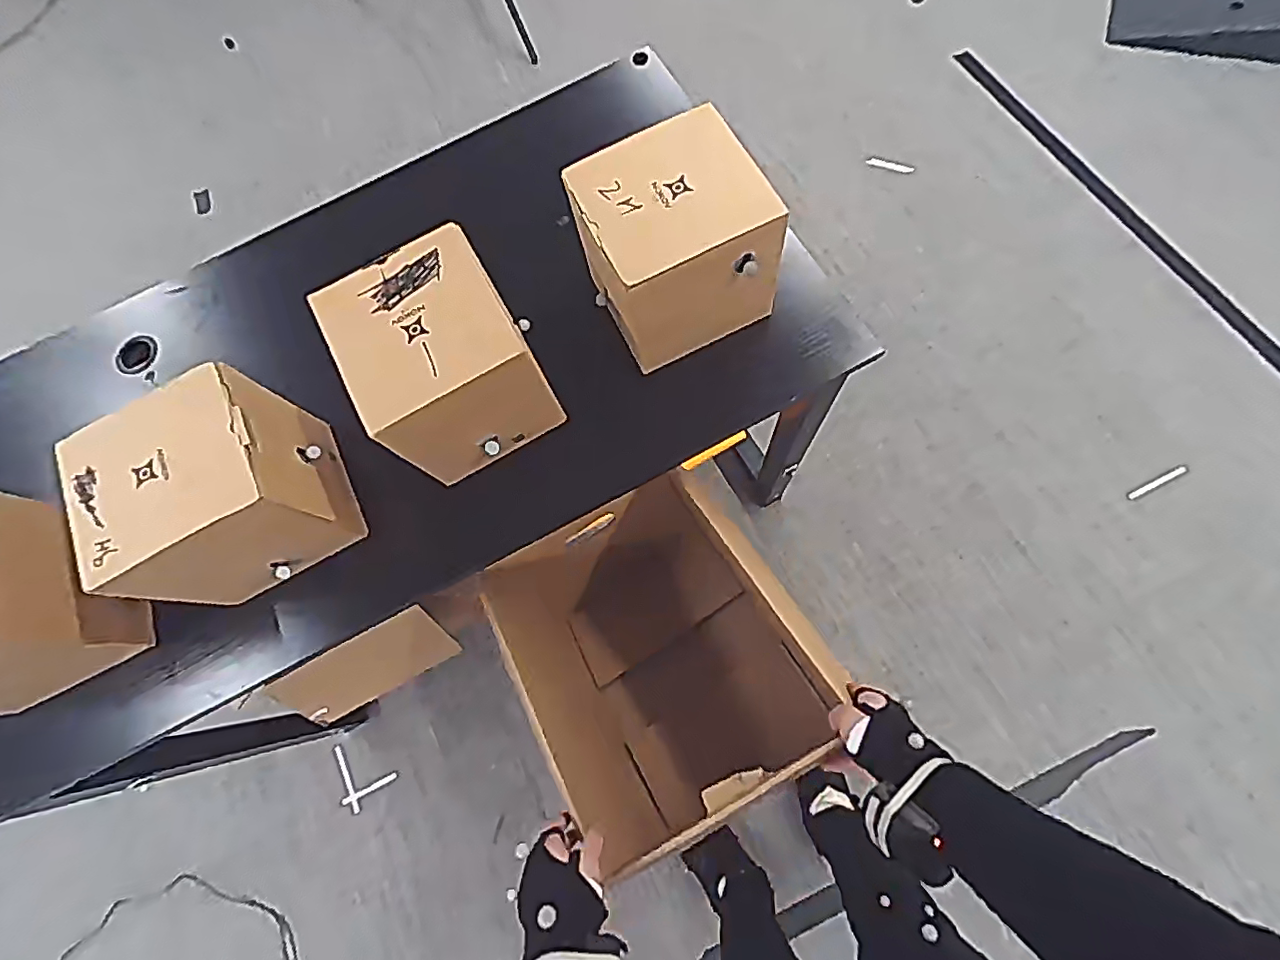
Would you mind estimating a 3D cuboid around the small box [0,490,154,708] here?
[{"bbox_3d":[-0.671,0.132,0.561,0.179,0.176,0.168,-26,73,-3],"label":"small box"}]

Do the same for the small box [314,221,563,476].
[{"bbox_3d":[-0.205,-0.130,0.590,0.168,0.176,0.179,-29,73,-3],"label":"small box"}]

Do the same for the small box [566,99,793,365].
[{"bbox_3d":[0.041,-0.261,0.601,0.179,0.176,0.168,-25,72,-2],"label":"small box"}]

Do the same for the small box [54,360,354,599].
[{"bbox_3d":[-0.437,0.011,0.574,0.179,0.176,0.168,-29,72,-4],"label":"small box"}]
